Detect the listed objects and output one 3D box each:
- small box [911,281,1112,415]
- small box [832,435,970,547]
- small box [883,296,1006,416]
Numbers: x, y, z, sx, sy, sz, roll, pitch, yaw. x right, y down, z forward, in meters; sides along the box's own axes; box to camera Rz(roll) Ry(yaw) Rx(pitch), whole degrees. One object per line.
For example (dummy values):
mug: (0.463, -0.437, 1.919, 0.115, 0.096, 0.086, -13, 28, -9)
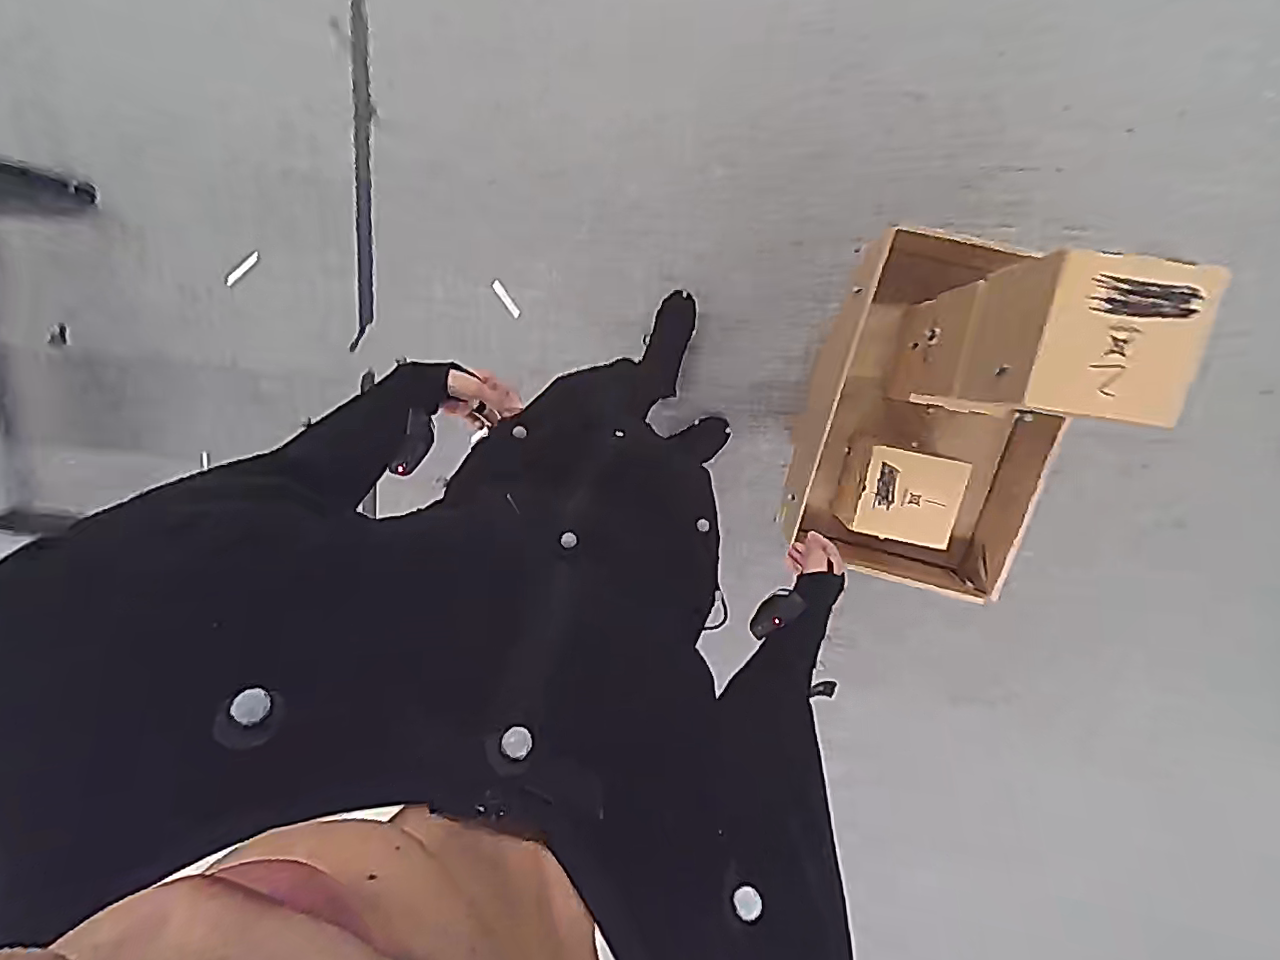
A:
small box: (0.553, -0.200, 0.834, 0.179, 0.176, 0.168, 9, 102, 5)
small box: (0.493, 0.011, 1.055, 0.179, 0.176, 0.168, 12, 103, 4)
small box: (0.571, -0.225, 0.995, 0.168, 0.176, 0.179, 12, 104, 5)
